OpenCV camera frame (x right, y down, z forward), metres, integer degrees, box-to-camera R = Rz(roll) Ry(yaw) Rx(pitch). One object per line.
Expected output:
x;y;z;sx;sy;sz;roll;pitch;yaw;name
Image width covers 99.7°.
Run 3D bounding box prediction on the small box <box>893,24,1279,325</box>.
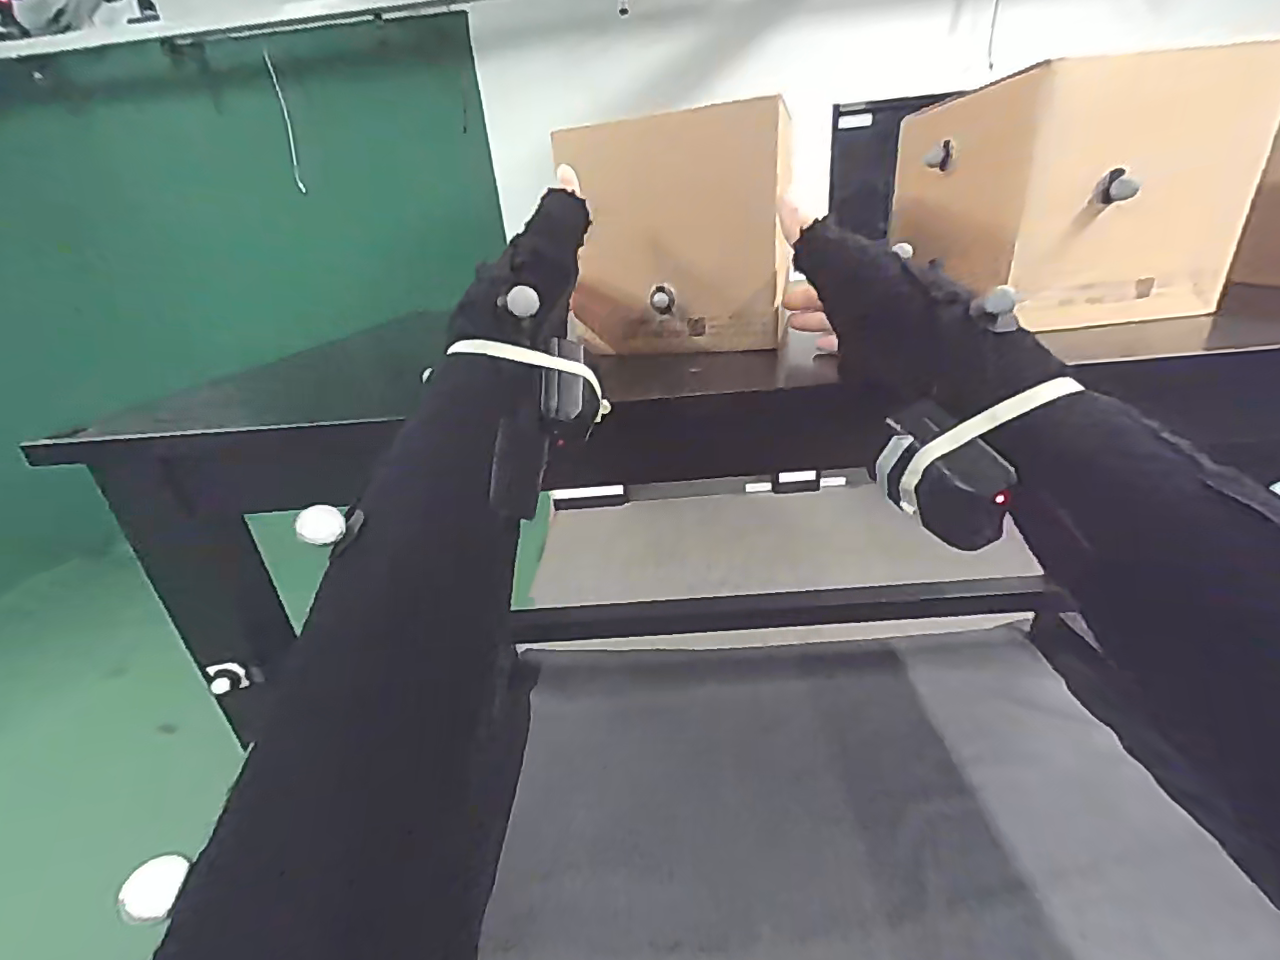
0.325;-0.222;0.430;0.168;0.176;0.179;-7;23;-2;small box
